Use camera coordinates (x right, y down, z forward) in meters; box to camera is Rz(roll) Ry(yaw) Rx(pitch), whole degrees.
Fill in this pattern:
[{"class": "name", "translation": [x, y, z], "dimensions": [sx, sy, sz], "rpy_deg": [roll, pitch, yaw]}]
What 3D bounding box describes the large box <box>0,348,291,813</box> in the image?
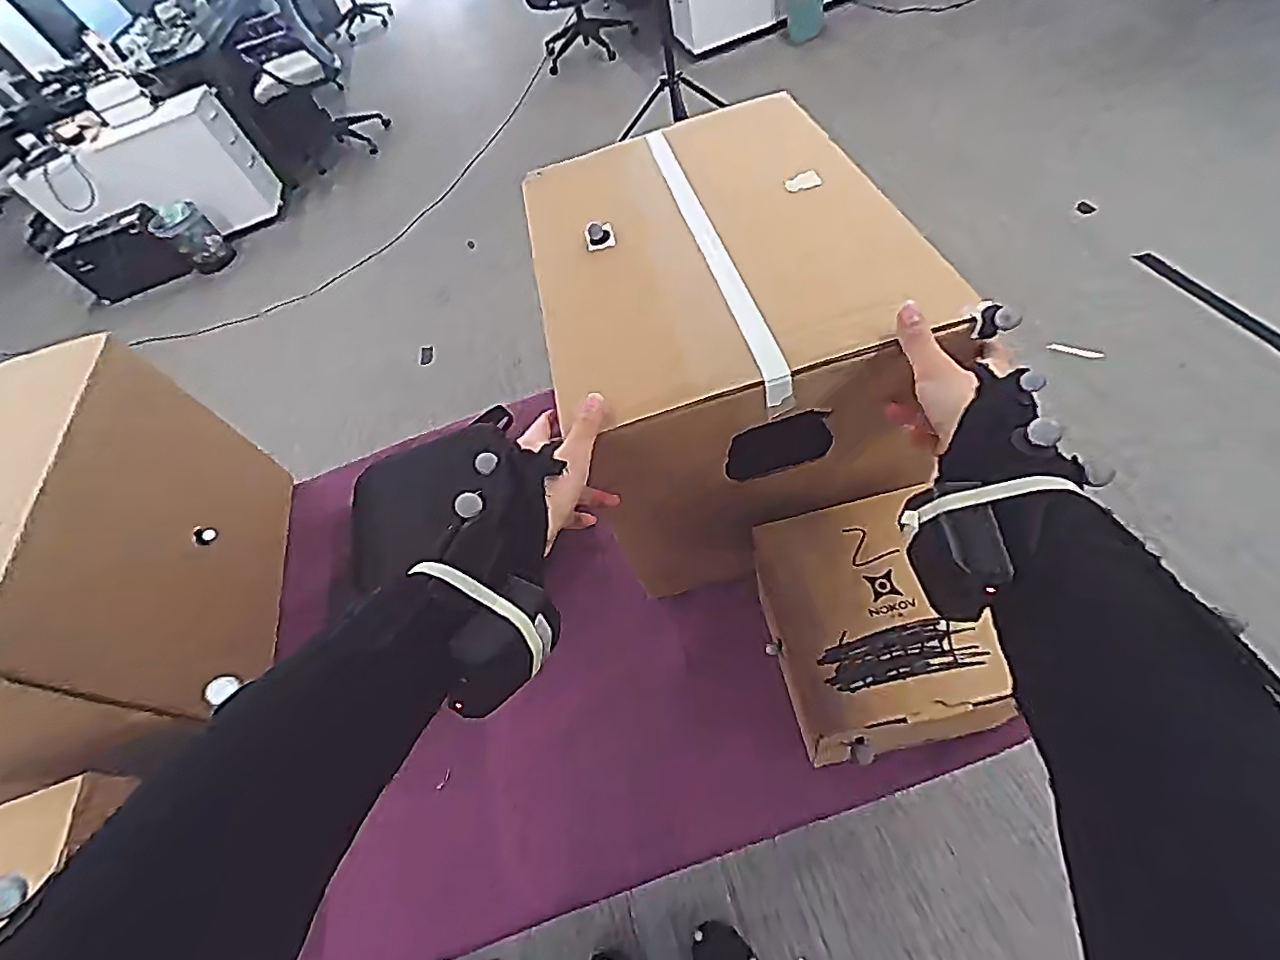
[{"class": "large box", "translation": [-0.672, 0.123, 0.646], "dimensions": [0.320, 0.320, 0.408], "rpy_deg": [-20, 57, -1]}]
